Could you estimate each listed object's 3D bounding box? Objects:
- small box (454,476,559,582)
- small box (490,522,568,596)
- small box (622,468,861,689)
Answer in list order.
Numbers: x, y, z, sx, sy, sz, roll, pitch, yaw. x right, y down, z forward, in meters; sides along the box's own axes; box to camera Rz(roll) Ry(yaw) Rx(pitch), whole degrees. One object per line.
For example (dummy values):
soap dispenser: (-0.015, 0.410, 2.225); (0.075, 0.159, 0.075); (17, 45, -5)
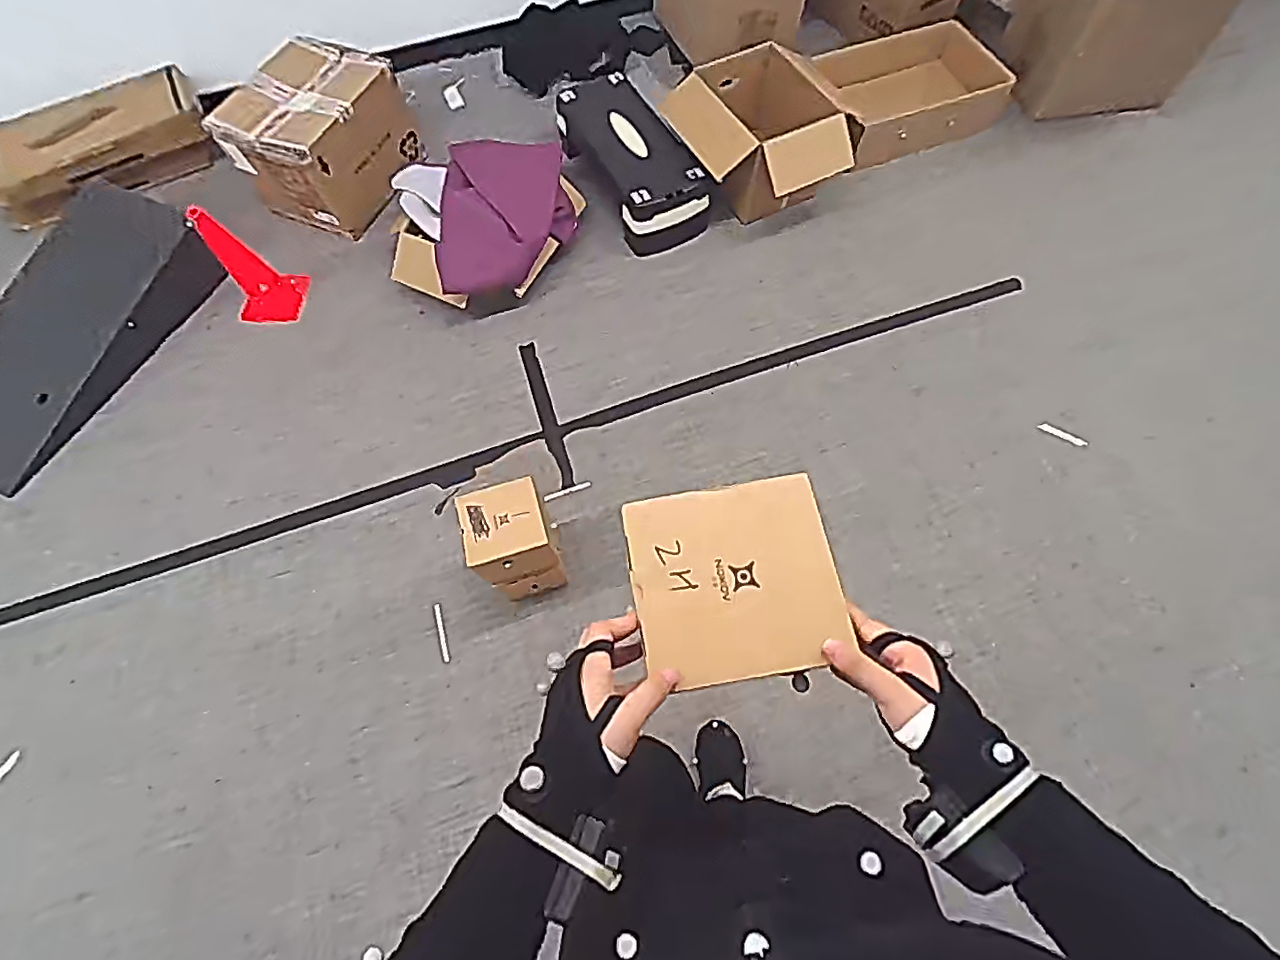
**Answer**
small box: (-0.296, 0.117, 1.223); (0.179, 0.176, 0.168); (-16, 68, -5)
small box: (-0.291, 0.188, 1.374); (0.168, 0.176, 0.179); (-17, 68, -5)
small box: (0.084, 0.104, 0.531); (0.179, 0.176, 0.168); (-10, 69, 0)
